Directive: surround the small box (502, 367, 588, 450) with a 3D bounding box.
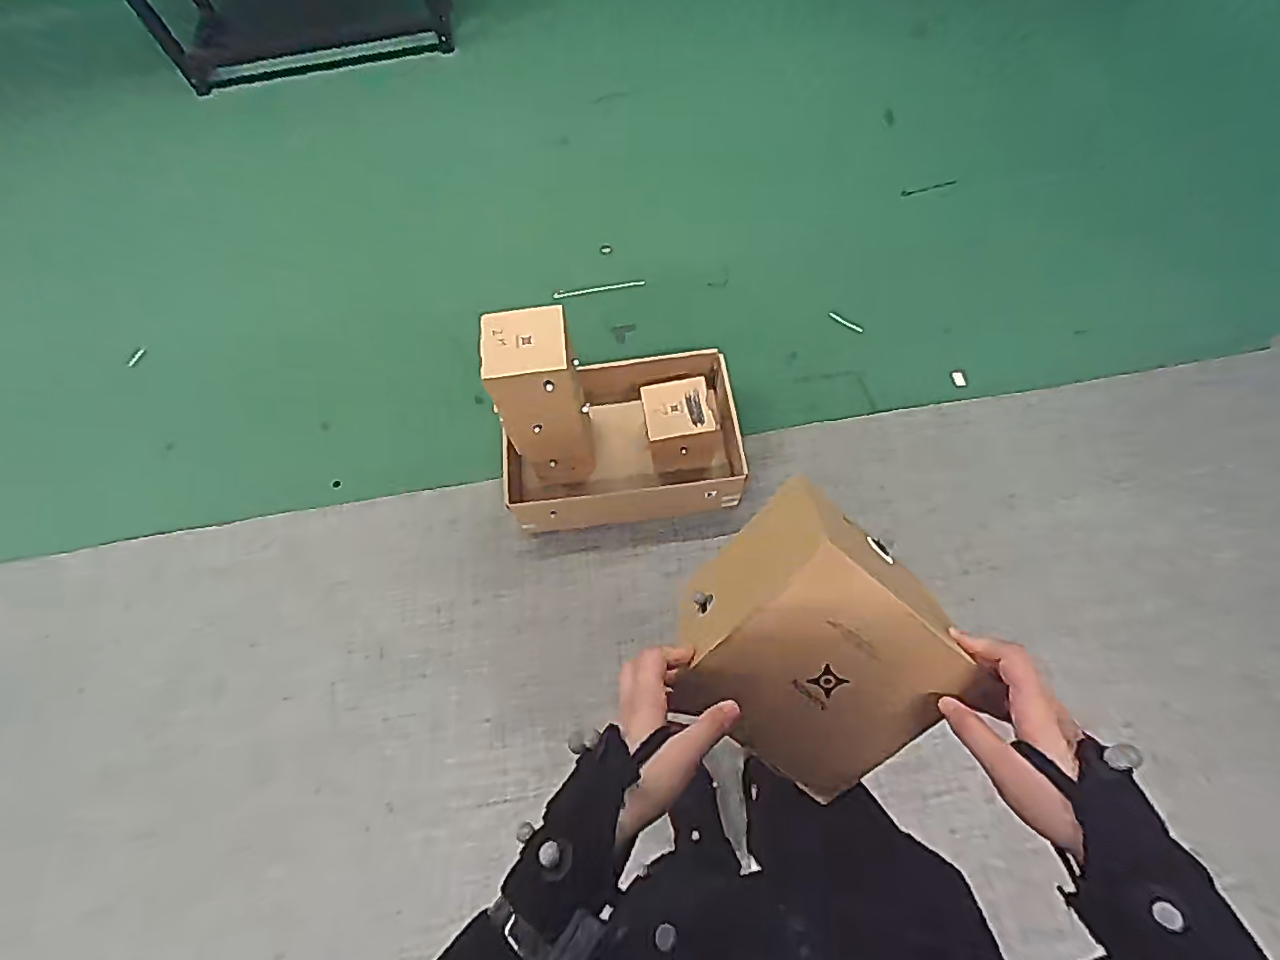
[{"bbox_3d":[-0.230,-0.185,1.321,0.179,0.176,0.168,-7,67,-1],"label":"small box"}]

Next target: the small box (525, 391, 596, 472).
[{"bbox_3d":[-0.216,-0.130,1.475,0.168,0.176,0.179,-8,67,0],"label":"small box"}]

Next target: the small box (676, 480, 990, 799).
[{"bbox_3d":[0.154,0.129,0.489,0.168,0.176,0.179,37,108,-5],"label":"small box"}]

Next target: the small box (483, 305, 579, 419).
[{"bbox_3d":[-0.228,-0.249,1.168,0.179,0.176,0.168,-8,66,0],"label":"small box"}]
